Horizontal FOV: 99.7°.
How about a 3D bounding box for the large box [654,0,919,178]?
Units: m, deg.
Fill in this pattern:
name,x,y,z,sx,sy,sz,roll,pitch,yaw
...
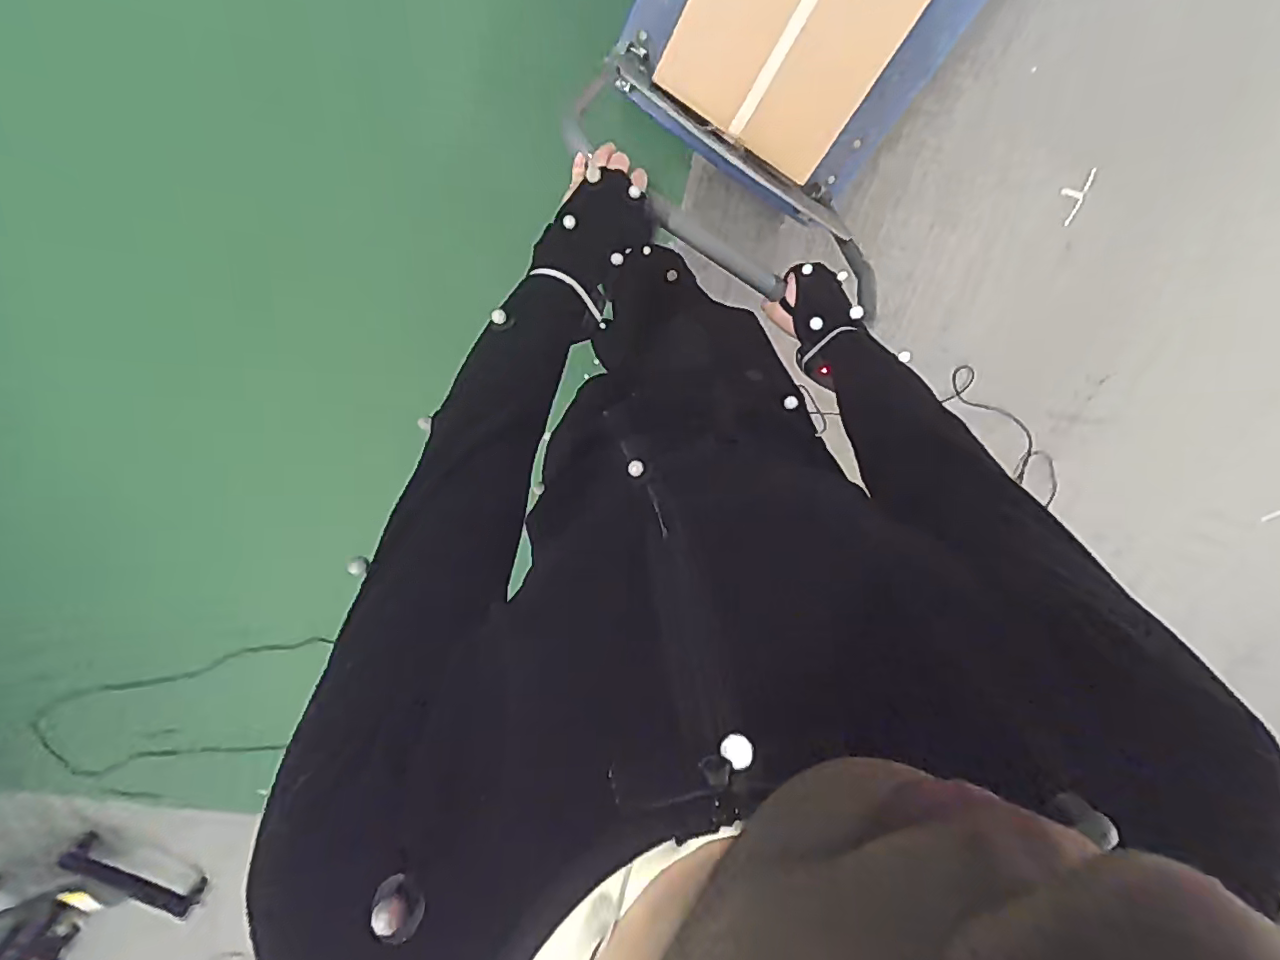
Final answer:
name,x,y,z,sx,sy,sz,roll,pitch,yaw
large box,0.259,-0.819,0.941,0.320,0.320,0.408,27,124,-14
